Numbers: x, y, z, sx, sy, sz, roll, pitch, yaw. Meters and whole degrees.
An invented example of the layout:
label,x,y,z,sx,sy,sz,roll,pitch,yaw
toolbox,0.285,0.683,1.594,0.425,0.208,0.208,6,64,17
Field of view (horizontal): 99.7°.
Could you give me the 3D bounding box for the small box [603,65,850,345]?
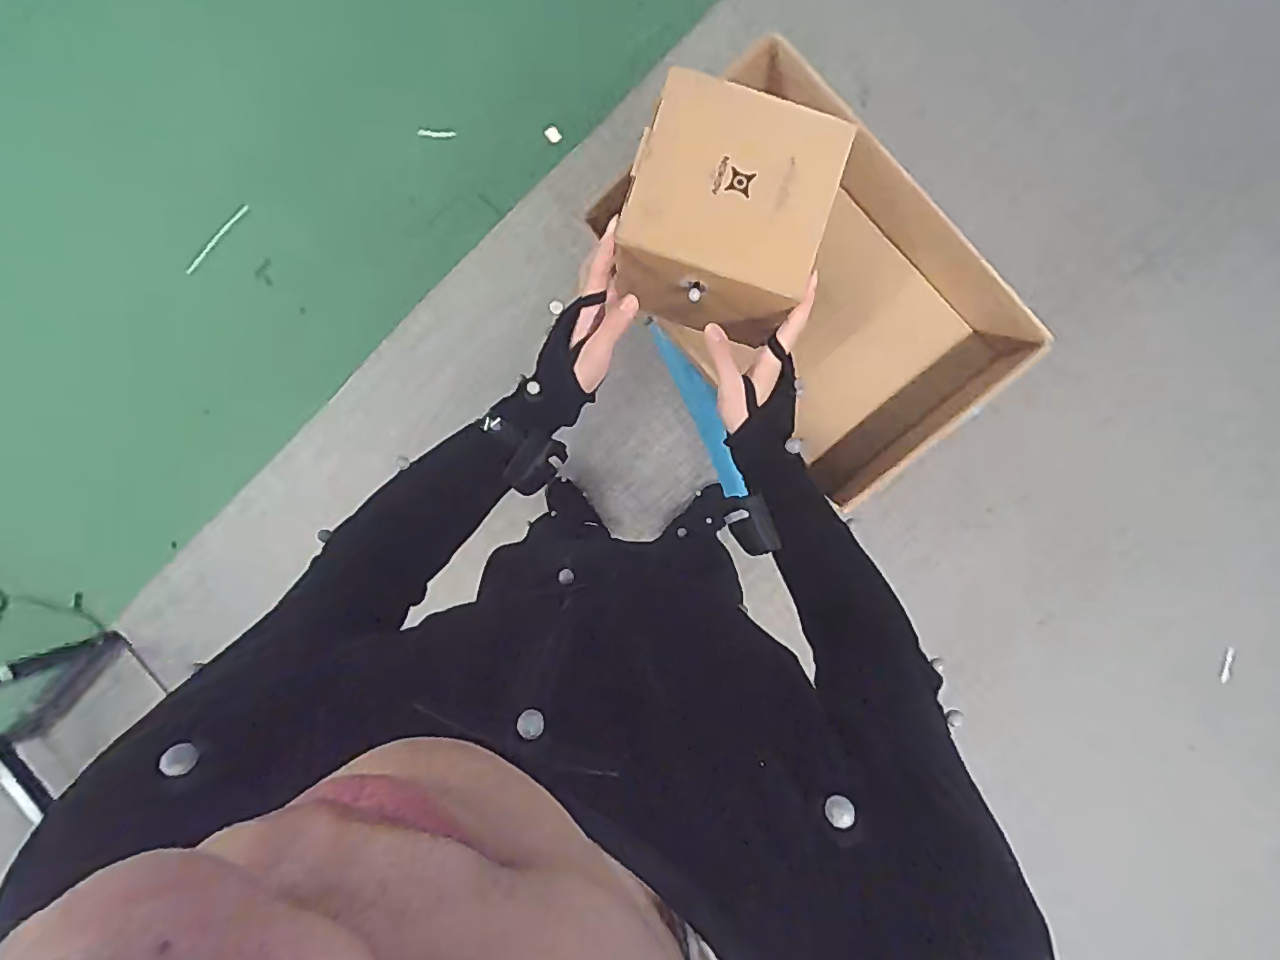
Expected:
label,x,y,z,sx,sy,sz,roll,pitch,yaw
small box,0.074,-0.253,0.543,0.179,0.176,0.168,18,88,0
